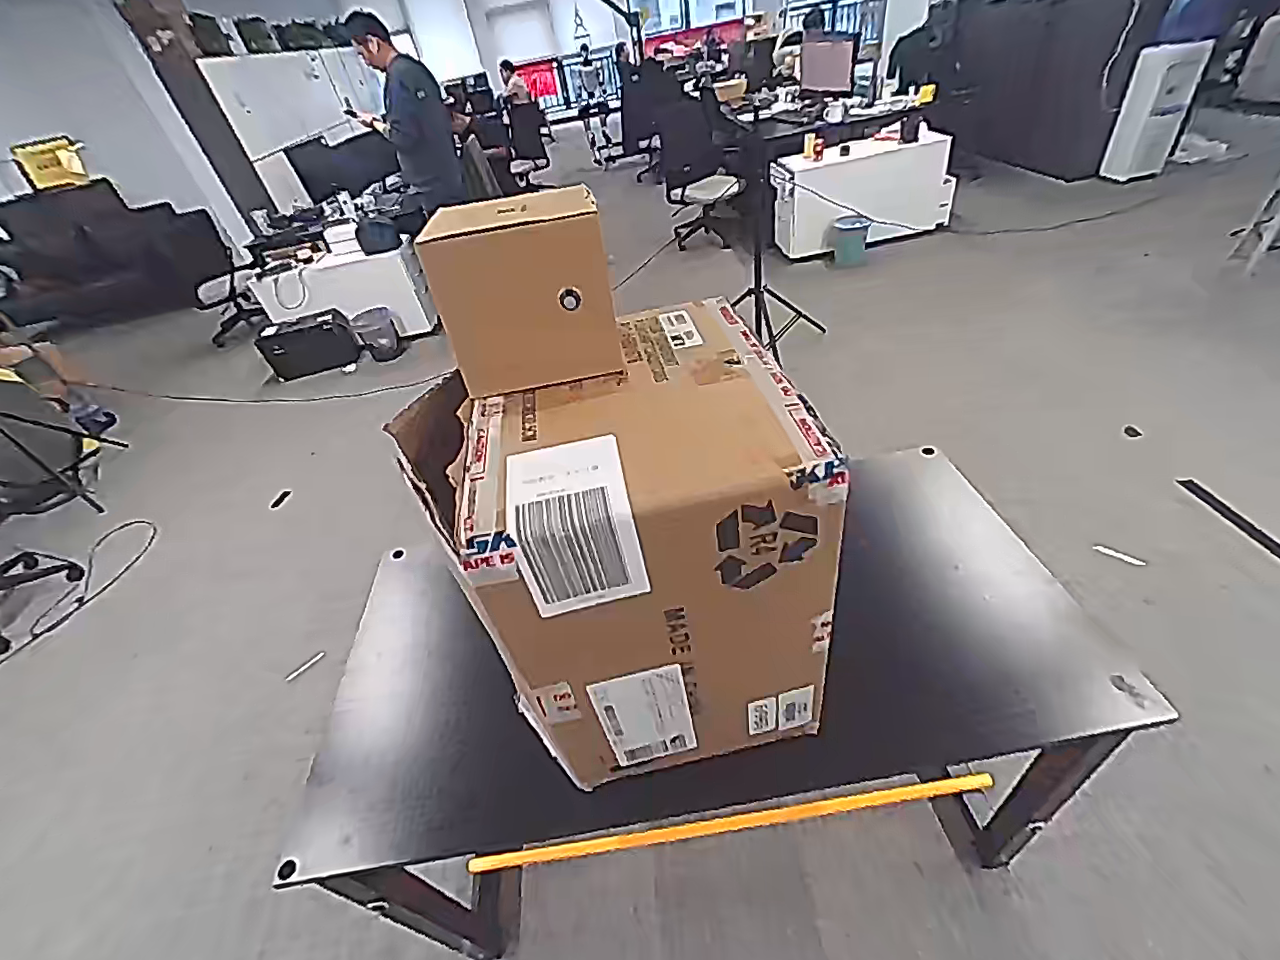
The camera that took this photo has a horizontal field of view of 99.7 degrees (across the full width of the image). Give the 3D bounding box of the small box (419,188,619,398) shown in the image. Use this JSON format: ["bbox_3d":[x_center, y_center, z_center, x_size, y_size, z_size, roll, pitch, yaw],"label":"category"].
[{"bbox_3d":[-0.124,-0.215,0.620,0.179,0.176,0.168,-12,37,-2],"label":"small box"}]
